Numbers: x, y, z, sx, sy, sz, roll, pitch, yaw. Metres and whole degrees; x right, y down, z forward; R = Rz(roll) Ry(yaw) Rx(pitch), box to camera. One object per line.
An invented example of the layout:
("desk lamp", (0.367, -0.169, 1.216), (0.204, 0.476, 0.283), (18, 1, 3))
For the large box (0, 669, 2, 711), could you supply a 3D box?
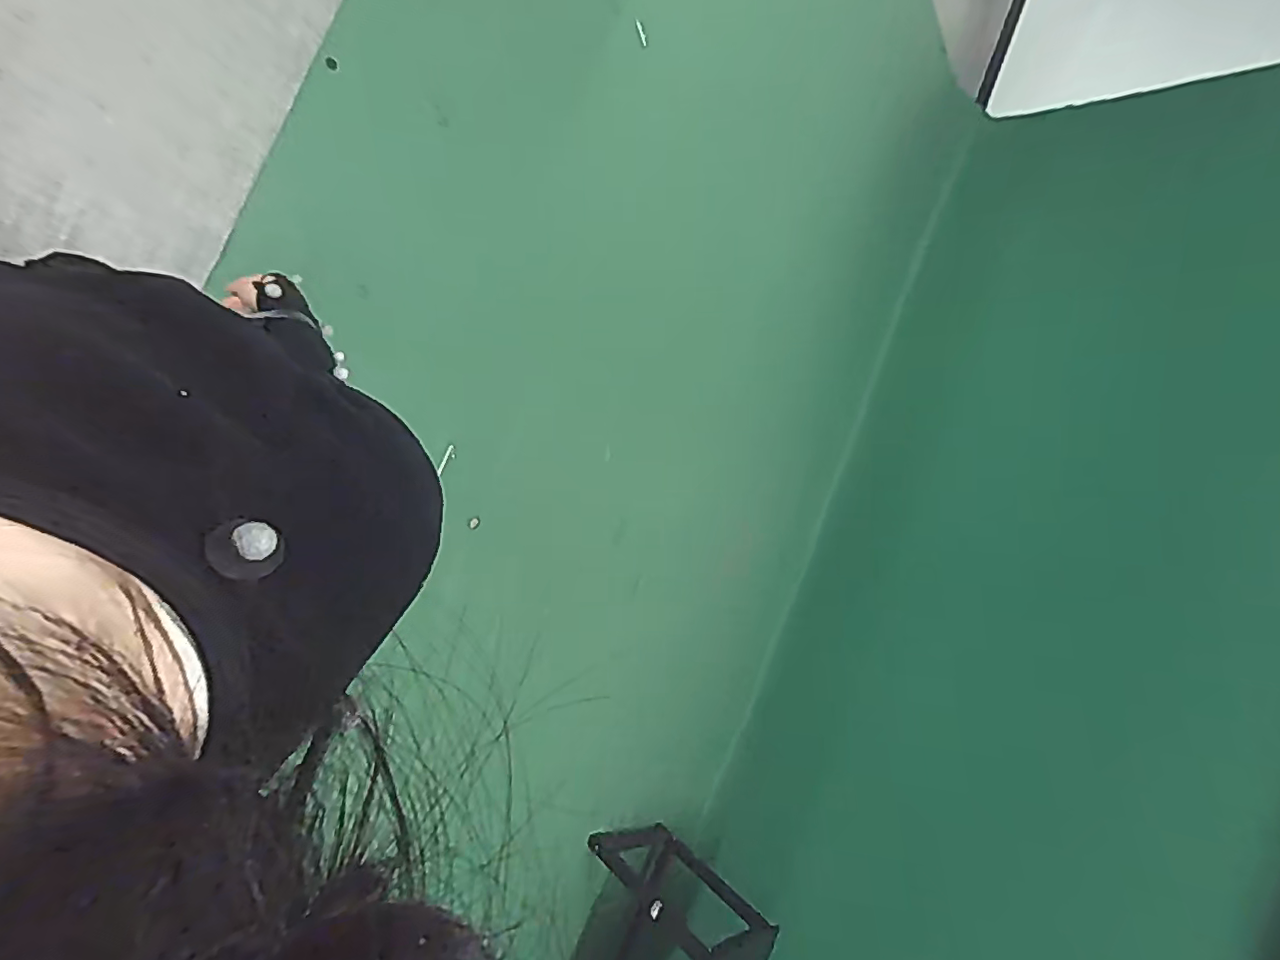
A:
("large box", (-1.332, 0.536, 0.848), (0.408, 0.320, 0.320), (6, 100, -48))
